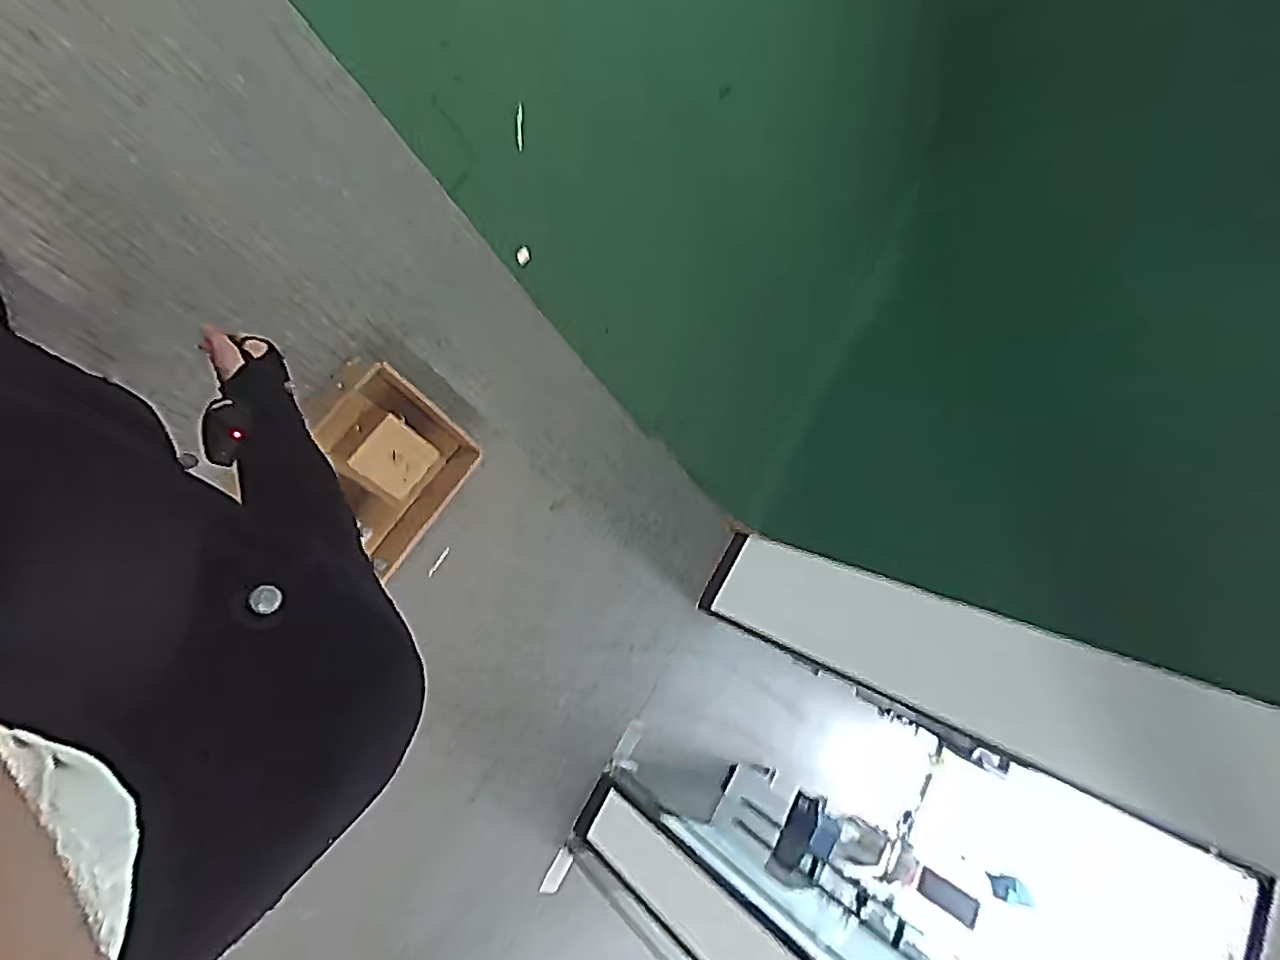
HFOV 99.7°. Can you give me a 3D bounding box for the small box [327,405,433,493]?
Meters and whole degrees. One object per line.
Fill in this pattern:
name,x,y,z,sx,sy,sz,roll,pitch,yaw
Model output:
small box,-0.711,-0.090,1.473,0.168,0.176,0.179,-55,133,-16
